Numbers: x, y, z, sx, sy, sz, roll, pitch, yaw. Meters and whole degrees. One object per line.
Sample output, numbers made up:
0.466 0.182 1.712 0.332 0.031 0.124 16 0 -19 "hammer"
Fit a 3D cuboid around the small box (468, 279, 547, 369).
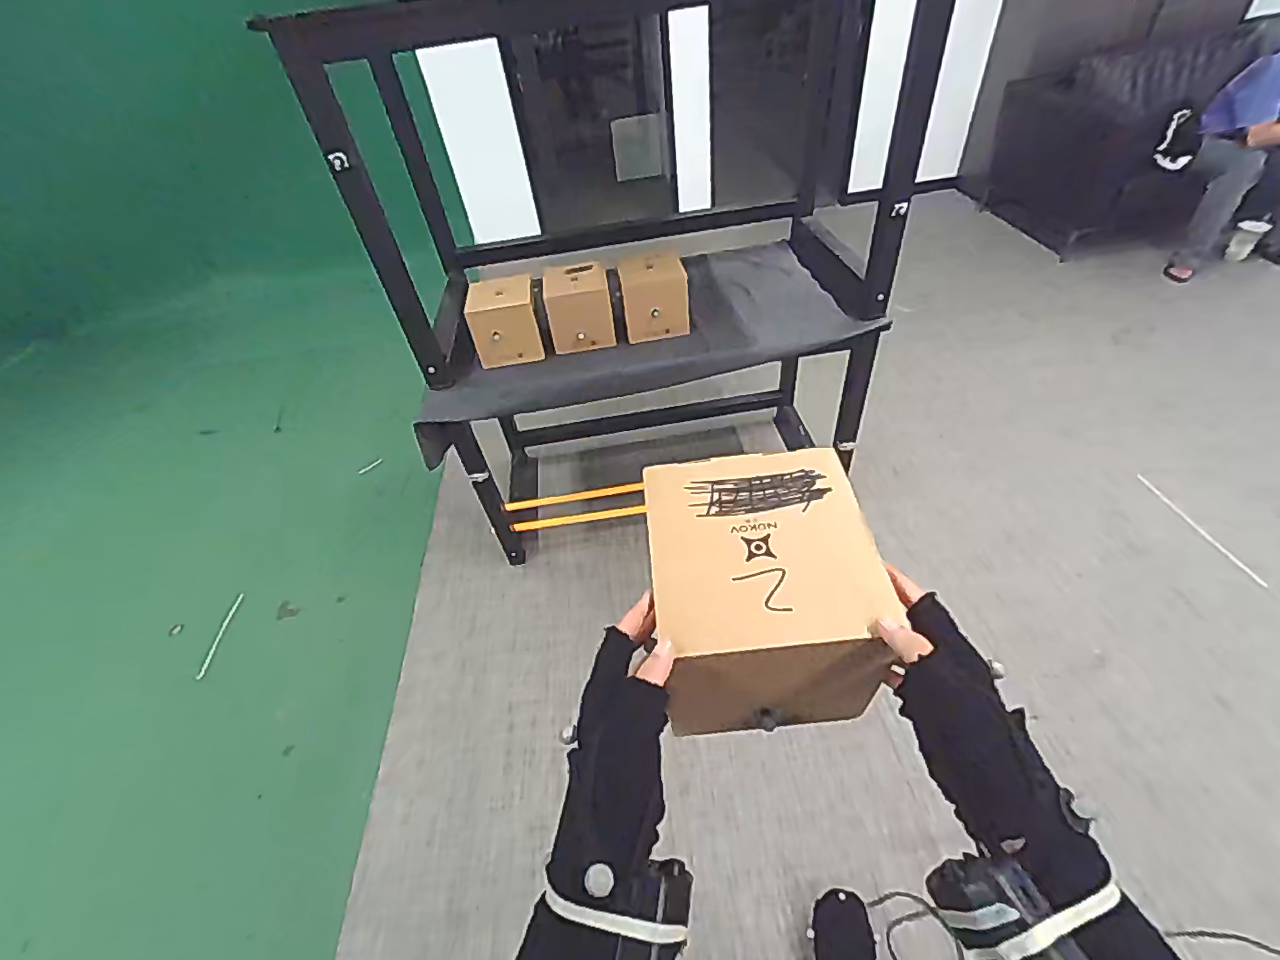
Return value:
-0.345 -0.408 1.441 0.168 0.176 0.179 -10 43 -2 "small box"
